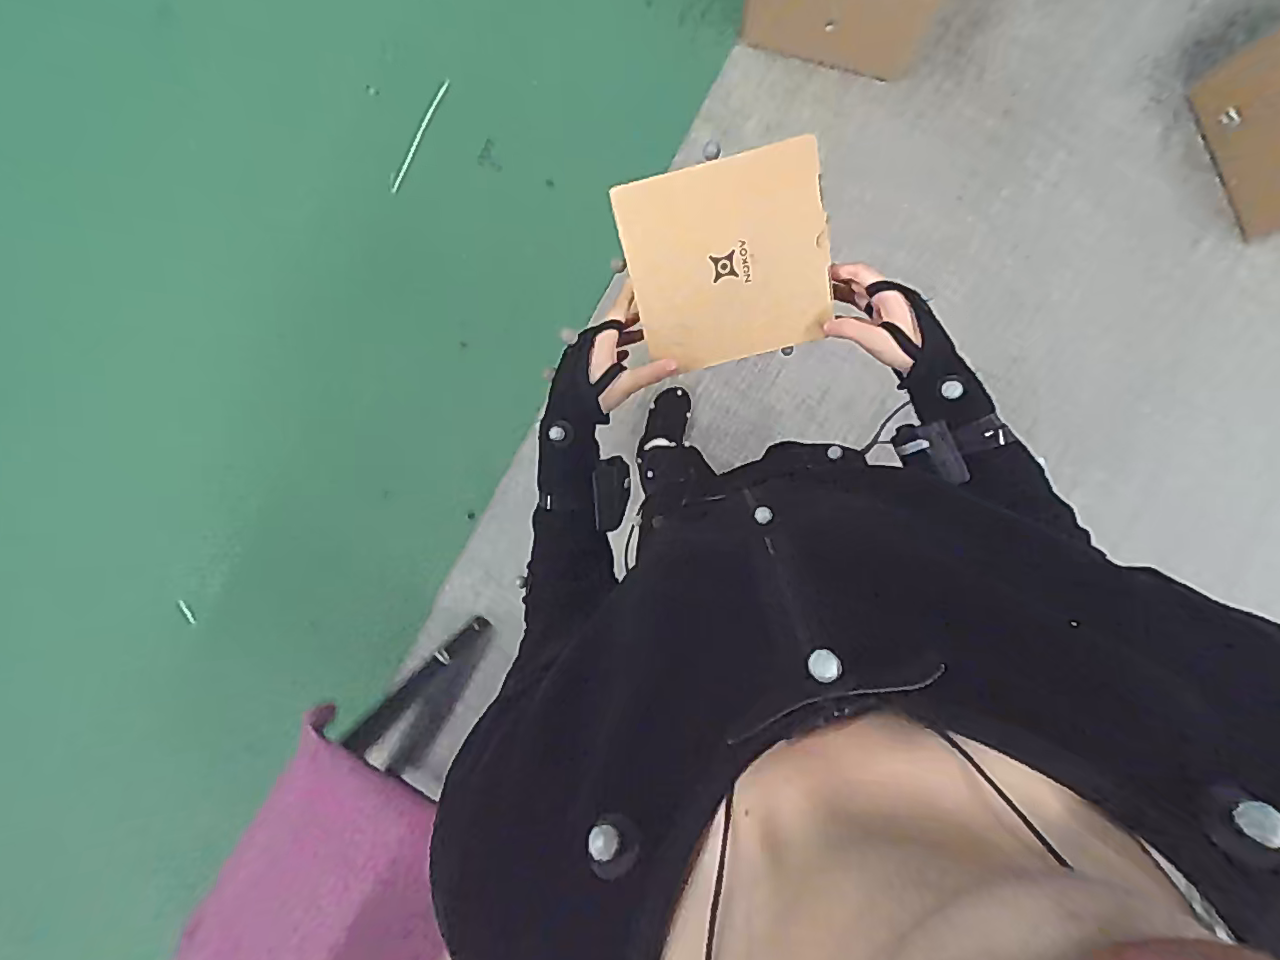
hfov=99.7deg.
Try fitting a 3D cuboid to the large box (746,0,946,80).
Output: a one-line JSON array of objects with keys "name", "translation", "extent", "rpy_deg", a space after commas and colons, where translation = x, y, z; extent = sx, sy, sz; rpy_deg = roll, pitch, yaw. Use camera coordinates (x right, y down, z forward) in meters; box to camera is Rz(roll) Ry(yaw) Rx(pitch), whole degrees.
[{"name": "large box", "translation": [0.478, -1.168, 1.195], "extent": [0.408, 0.320, 0.320], "rpy_deg": [17, 96, 6]}]

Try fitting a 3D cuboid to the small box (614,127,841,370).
[{"name": "small box", "translation": [0.078, -0.219, 0.538], "extent": [0.179, 0.176, 0.168], "rpy_deg": [-13, 112, 3]}]
